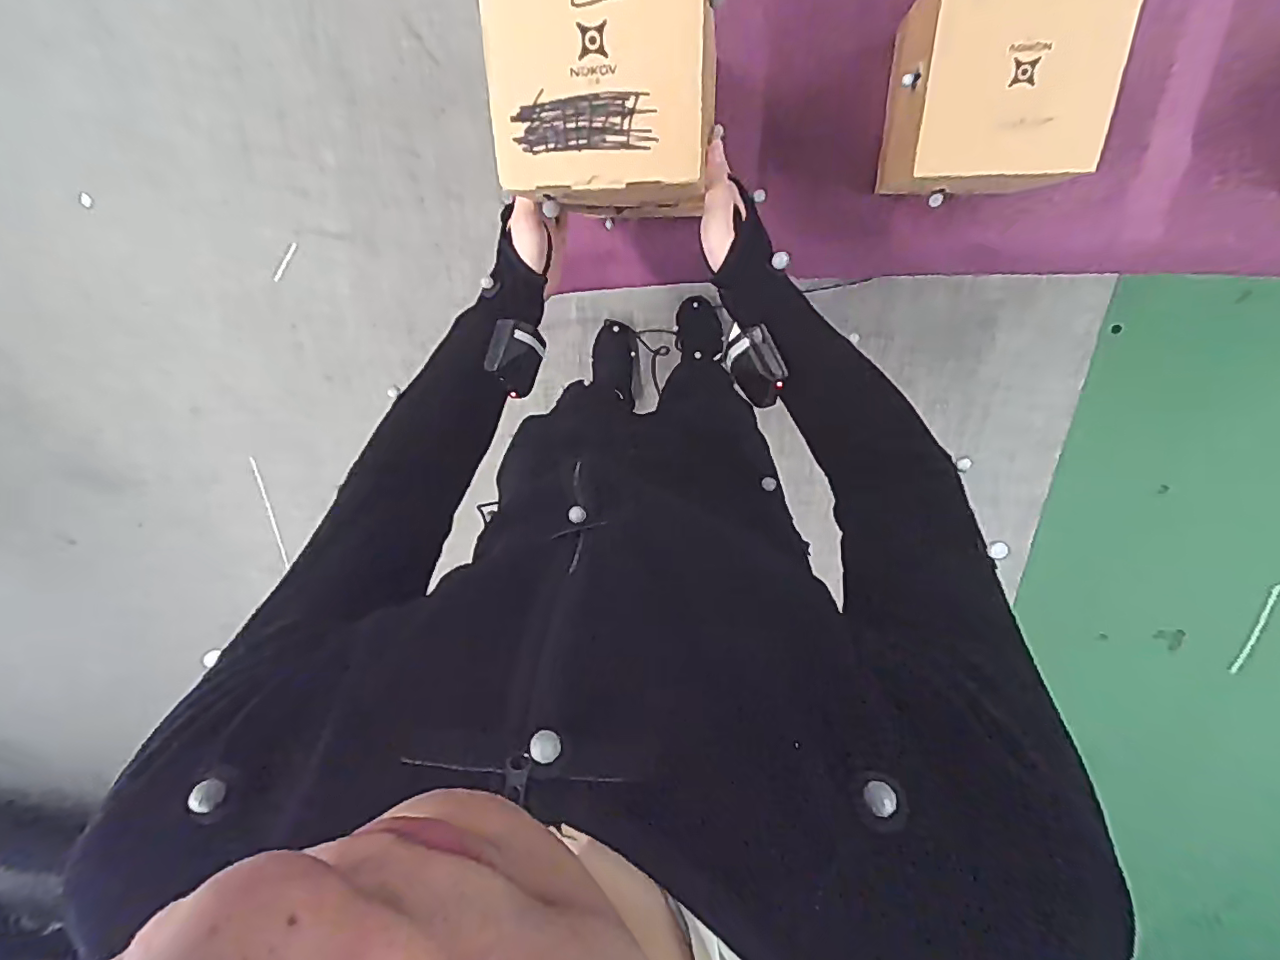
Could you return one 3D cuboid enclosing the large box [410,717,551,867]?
[{"bbox_3d":[-0.616,1.212,2.123,0.408,0.320,0.320,24,115,-3],"label":"large box"}]

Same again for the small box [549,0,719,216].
[{"bbox_3d":[0.003,-0.403,0.620,0.168,0.176,0.179,2,112,7],"label":"small box"}]
